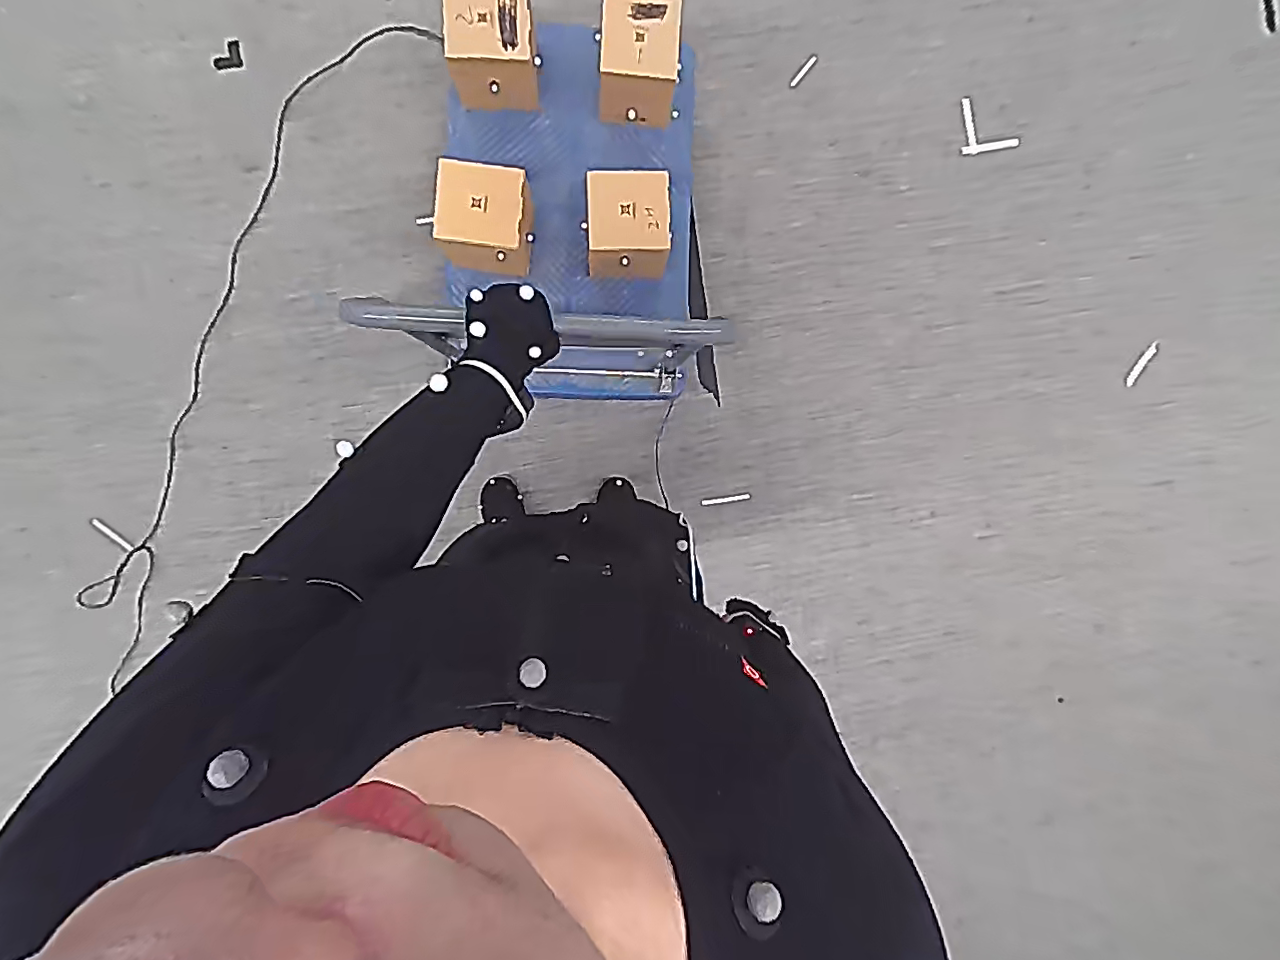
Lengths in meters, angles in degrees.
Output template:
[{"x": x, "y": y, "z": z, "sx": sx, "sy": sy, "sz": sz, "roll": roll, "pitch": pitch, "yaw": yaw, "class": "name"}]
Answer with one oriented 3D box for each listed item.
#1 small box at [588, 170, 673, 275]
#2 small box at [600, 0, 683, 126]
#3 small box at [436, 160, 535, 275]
[{"x": -0.024, "y": -0.570, "z": 1.216, "sx": 0.179, "sy": 0.176, "sz": 0.168, "roll": -2, "pitch": 92, "yaw": -5, "class": "small box"}, {"x": -0.002, "y": -0.936, "z": 1.207, "sx": 0.168, "sy": 0.176, "sz": 0.179, "roll": 3, "pitch": 93, "yaw": -5, "class": "small box"}, {"x": -0.333, "y": -0.568, "z": 1.191, "sx": 0.179, "sy": 0.176, "sz": 0.168, "roll": 4, "pitch": 91, "yaw": -6, "class": "small box"}]
